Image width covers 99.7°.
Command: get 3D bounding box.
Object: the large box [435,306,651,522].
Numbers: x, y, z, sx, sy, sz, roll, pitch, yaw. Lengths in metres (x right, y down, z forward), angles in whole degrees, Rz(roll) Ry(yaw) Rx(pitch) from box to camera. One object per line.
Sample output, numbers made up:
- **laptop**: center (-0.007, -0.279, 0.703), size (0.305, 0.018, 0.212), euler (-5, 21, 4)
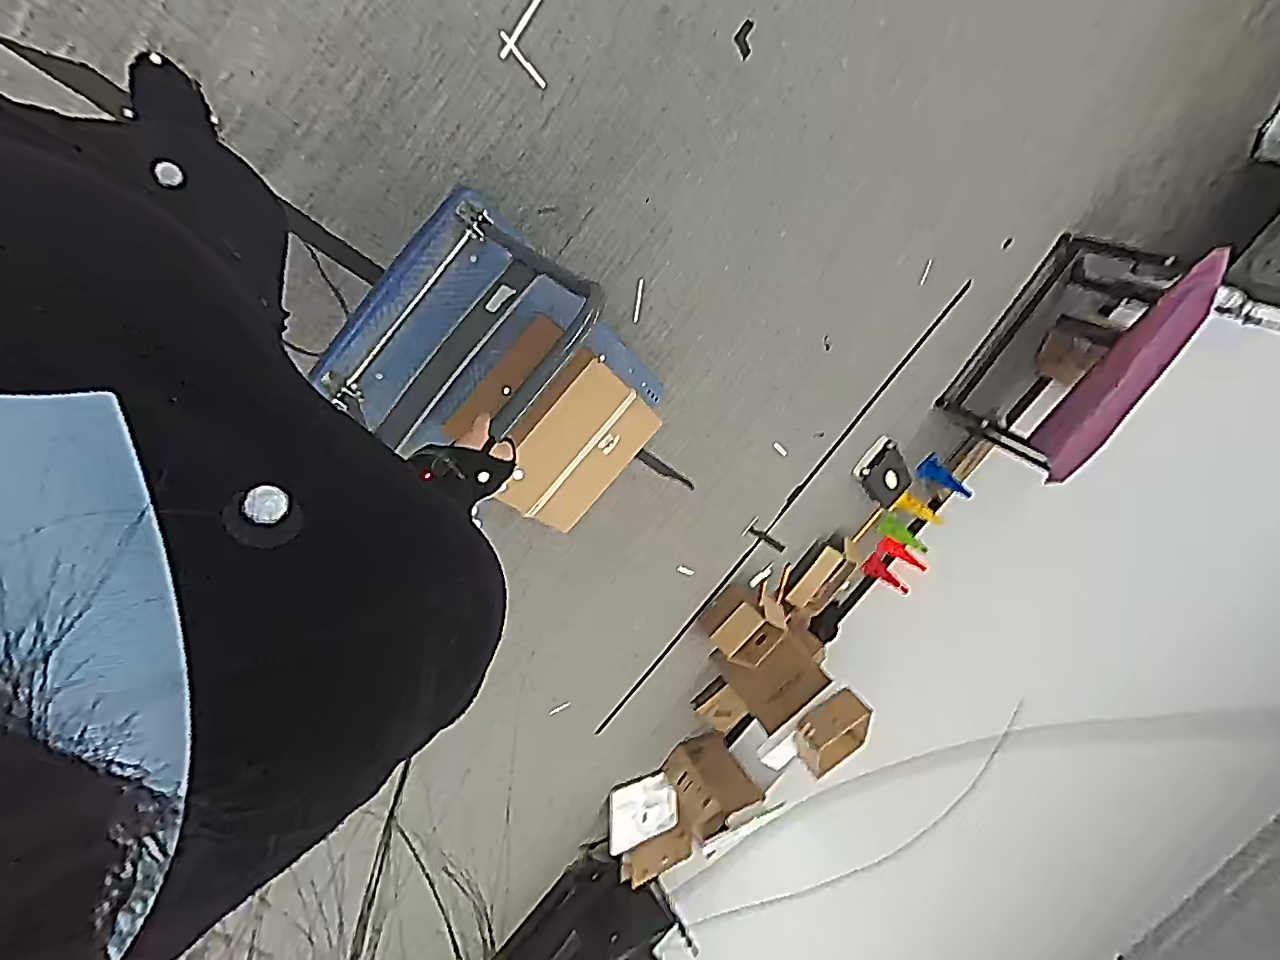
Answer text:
- **large box**: center (-0.258, -0.170, 1.424), size (0.408, 0.320, 0.320), euler (-50, 140, 3)
